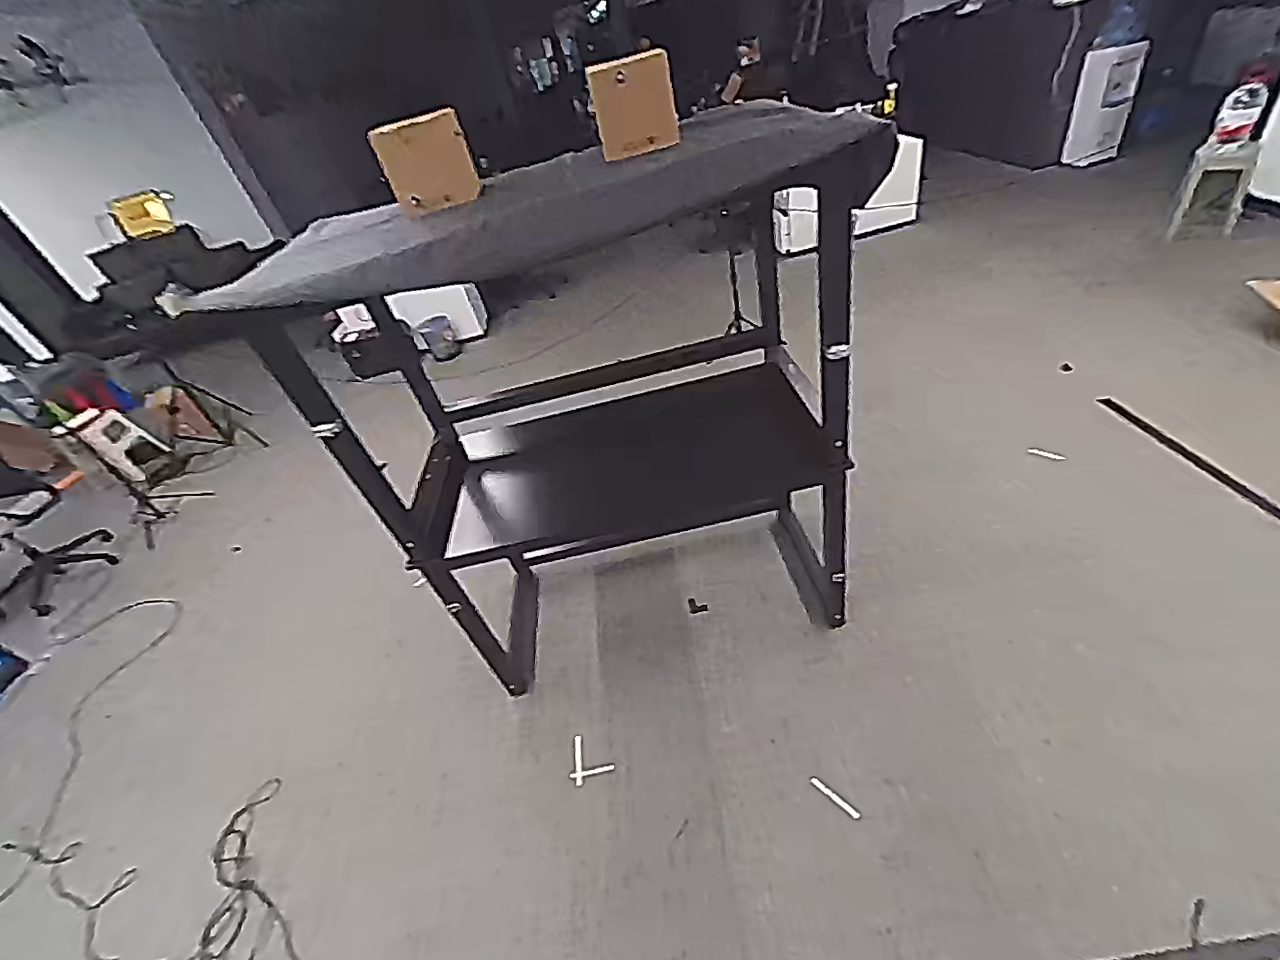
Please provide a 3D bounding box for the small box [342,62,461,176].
[{"bbox_3d":[-0.504,-0.778,1.173,0.168,0.176,0.179,-15,39,0],"label":"small box"}]

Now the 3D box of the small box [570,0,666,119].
[{"bbox_3d":[-0.046,-0.891,1.154,0.168,0.176,0.179,-13,39,4],"label":"small box"}]
